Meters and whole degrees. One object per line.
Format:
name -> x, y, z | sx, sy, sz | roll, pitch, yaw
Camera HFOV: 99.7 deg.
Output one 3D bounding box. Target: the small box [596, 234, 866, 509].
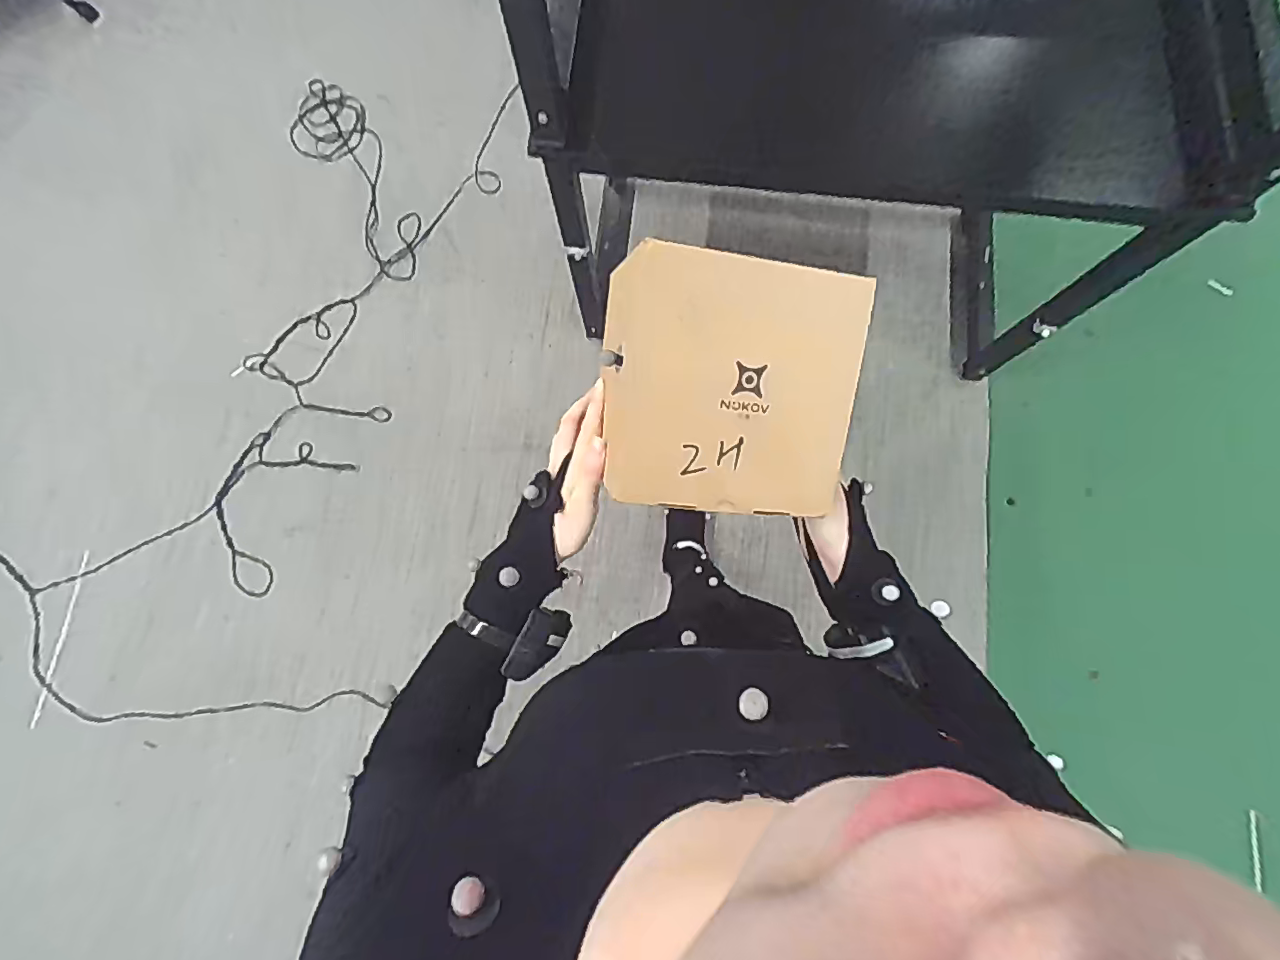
small box -> 0.057, -0.086, 0.460 | 0.168, 0.176, 0.179 | 5, 103, -11
